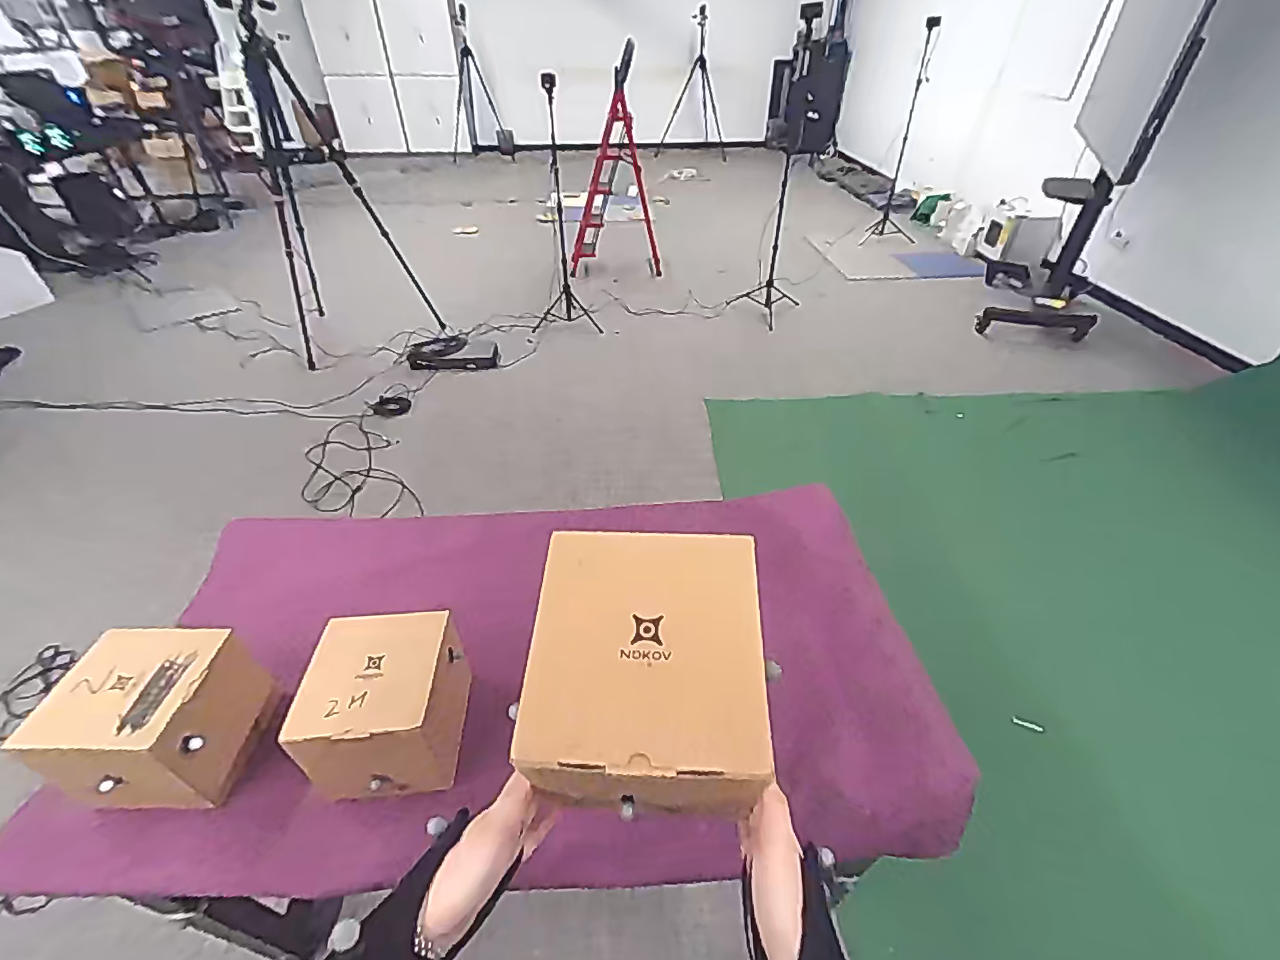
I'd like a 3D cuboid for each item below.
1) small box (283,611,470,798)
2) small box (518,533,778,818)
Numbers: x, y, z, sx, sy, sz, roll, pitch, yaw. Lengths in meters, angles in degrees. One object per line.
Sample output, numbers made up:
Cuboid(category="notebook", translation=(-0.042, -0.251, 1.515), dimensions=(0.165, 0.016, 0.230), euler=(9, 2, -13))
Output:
Cuboid(category="small box", translation=(-0.340, 0.305, 0.743), dimensions=(0.168, 0.176, 0.179), euler=(-4, 39, -4))
Cuboid(category="small box", translation=(0.010, 0.163, 0.449), dimensions=(0.168, 0.176, 0.179), euler=(1, 52, 3))
